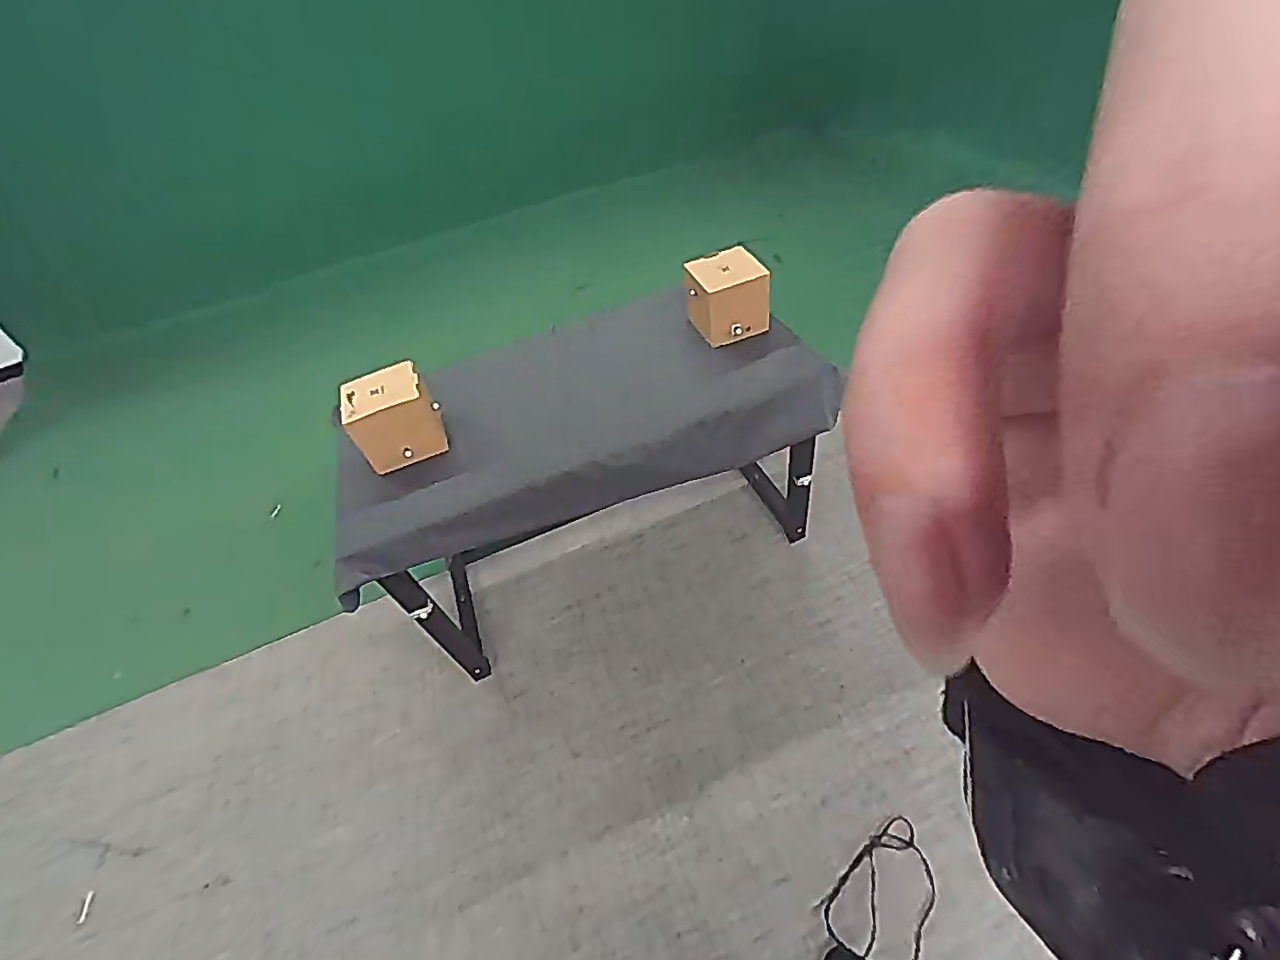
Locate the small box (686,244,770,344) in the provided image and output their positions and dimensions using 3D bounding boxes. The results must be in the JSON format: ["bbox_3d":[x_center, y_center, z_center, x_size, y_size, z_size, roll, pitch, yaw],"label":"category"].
[{"bbox_3d":[0.230,-0.487,1.422,0.168,0.176,0.179,-19,48,-2],"label":"small box"}]

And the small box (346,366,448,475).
[{"bbox_3d":[-0.580,-0.142,1.306,0.179,0.176,0.168,-22,47,-9],"label":"small box"}]
